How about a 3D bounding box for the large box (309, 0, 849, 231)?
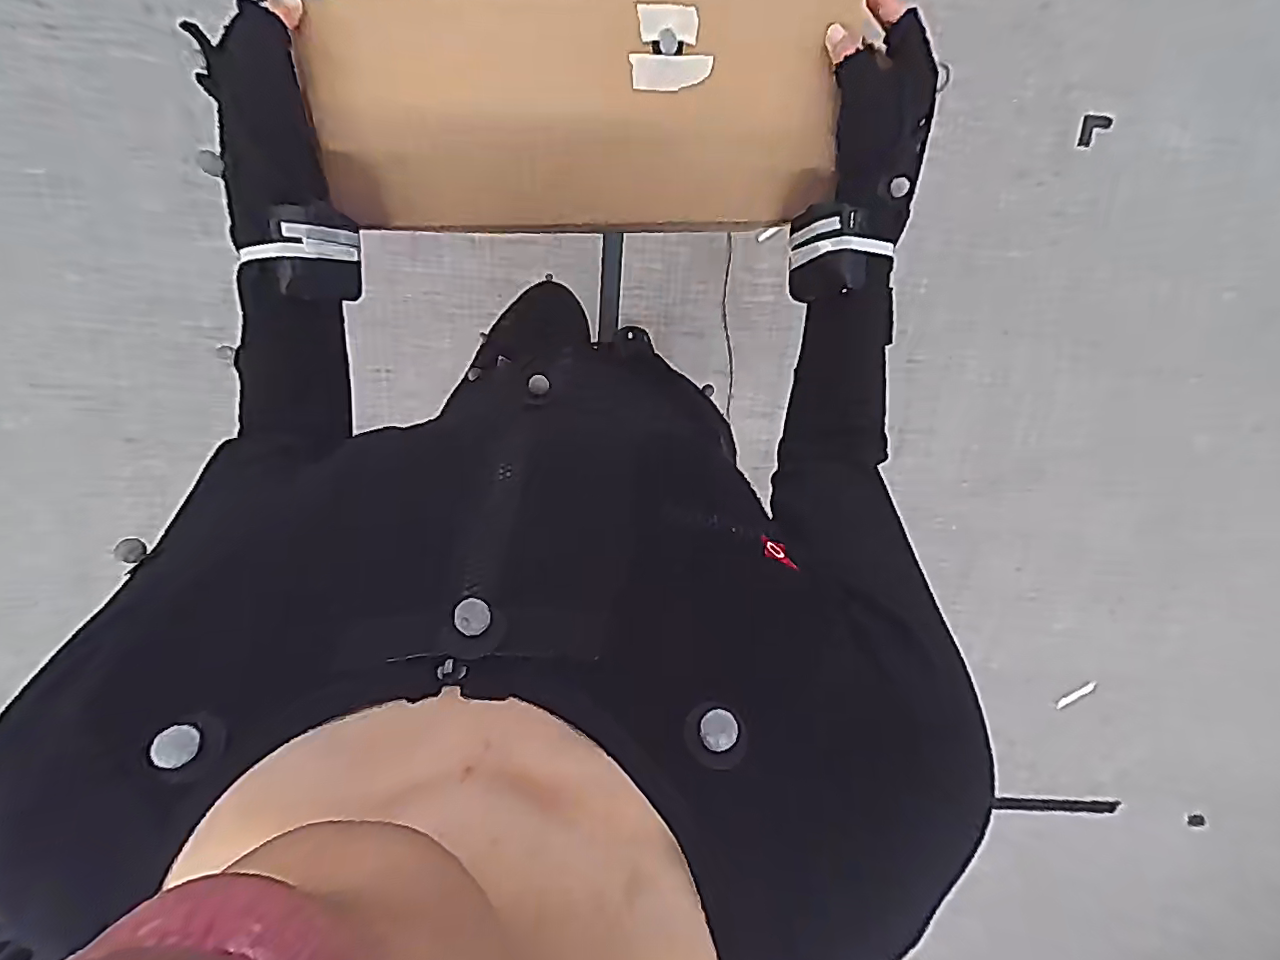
[{"bbox_3d":[-0.048,-0.424,0.527,0.408,0.320,0.320,-2,114,-1],"label":"large box"}]
